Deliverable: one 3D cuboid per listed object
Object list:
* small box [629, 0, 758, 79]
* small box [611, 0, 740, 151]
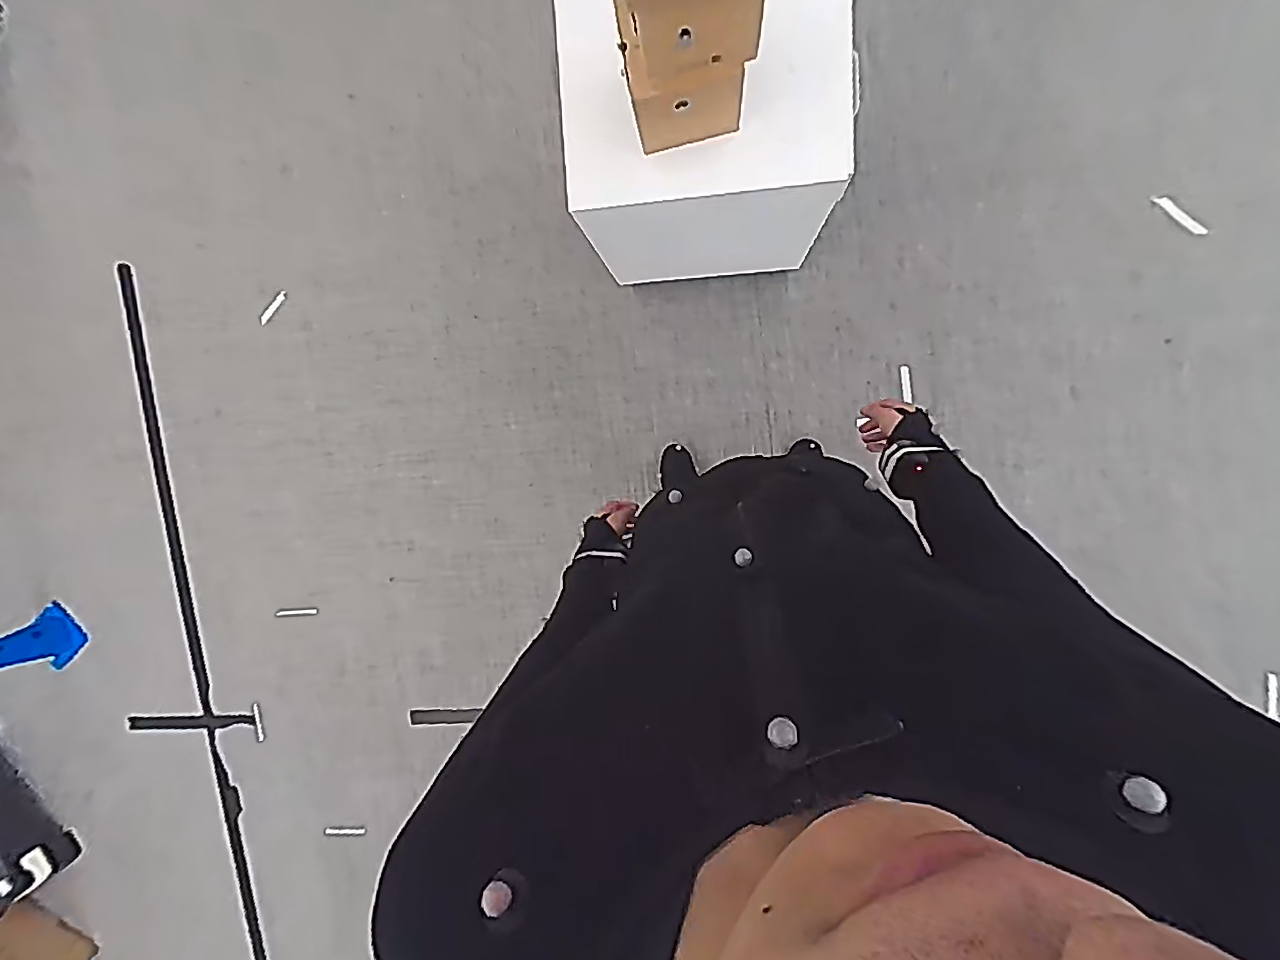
[{"bbox_3d":[0.065,-0.681,0.723,0.168,0.176,0.179,-9,94,8],"label":"small box"},{"bbox_3d":[0.063,-0.677,0.888,0.179,0.176,0.168,-10,94,7],"label":"small box"}]
